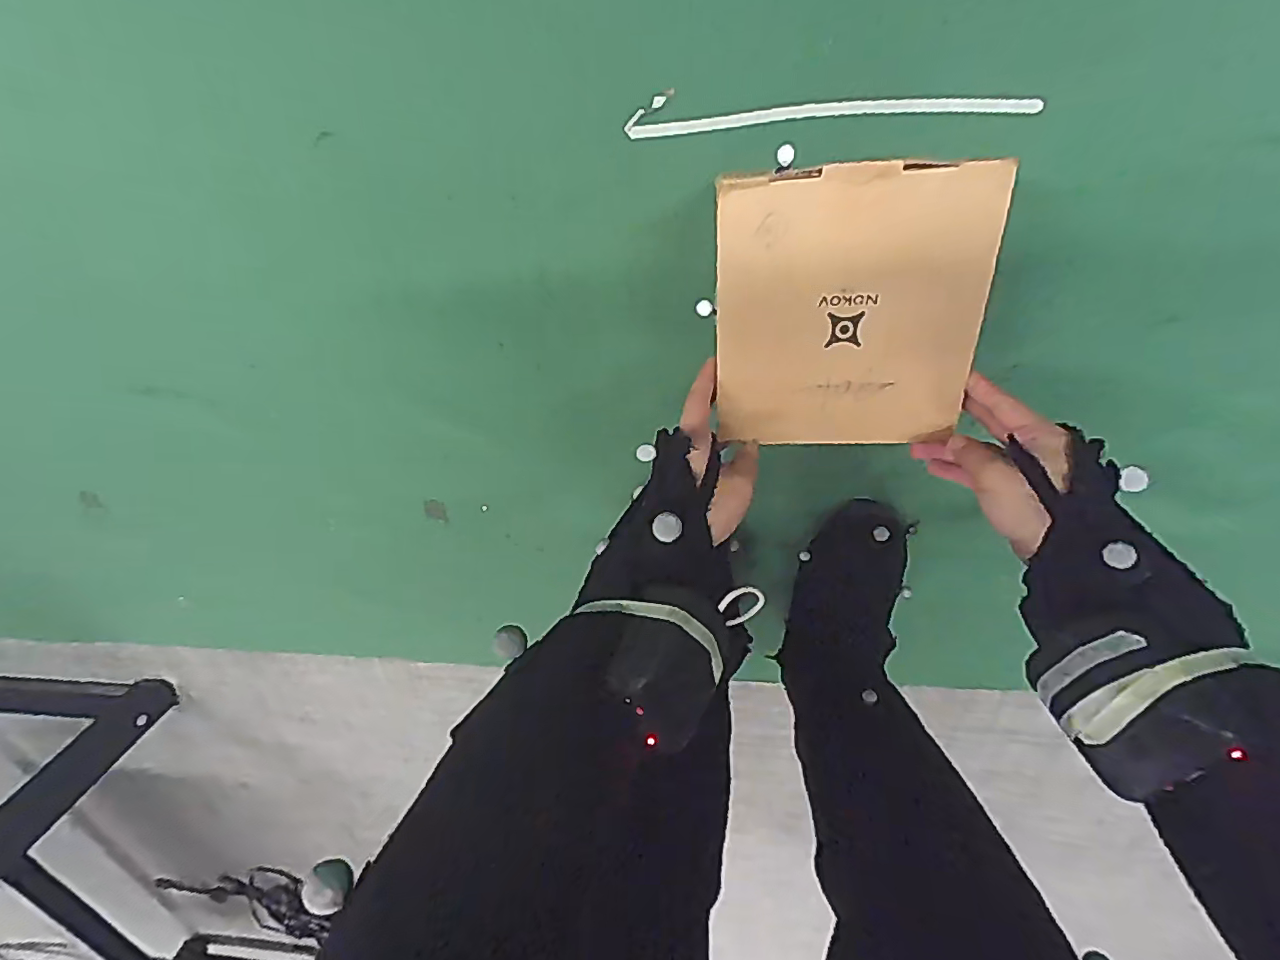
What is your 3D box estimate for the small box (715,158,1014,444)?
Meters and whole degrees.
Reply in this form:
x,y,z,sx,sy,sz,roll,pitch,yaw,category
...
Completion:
x,y,z,sx,sy,sz,roll,pitch,yaw,category
0.143,-0.141,0.419,0.168,0.176,0.179,0,121,9,small box
